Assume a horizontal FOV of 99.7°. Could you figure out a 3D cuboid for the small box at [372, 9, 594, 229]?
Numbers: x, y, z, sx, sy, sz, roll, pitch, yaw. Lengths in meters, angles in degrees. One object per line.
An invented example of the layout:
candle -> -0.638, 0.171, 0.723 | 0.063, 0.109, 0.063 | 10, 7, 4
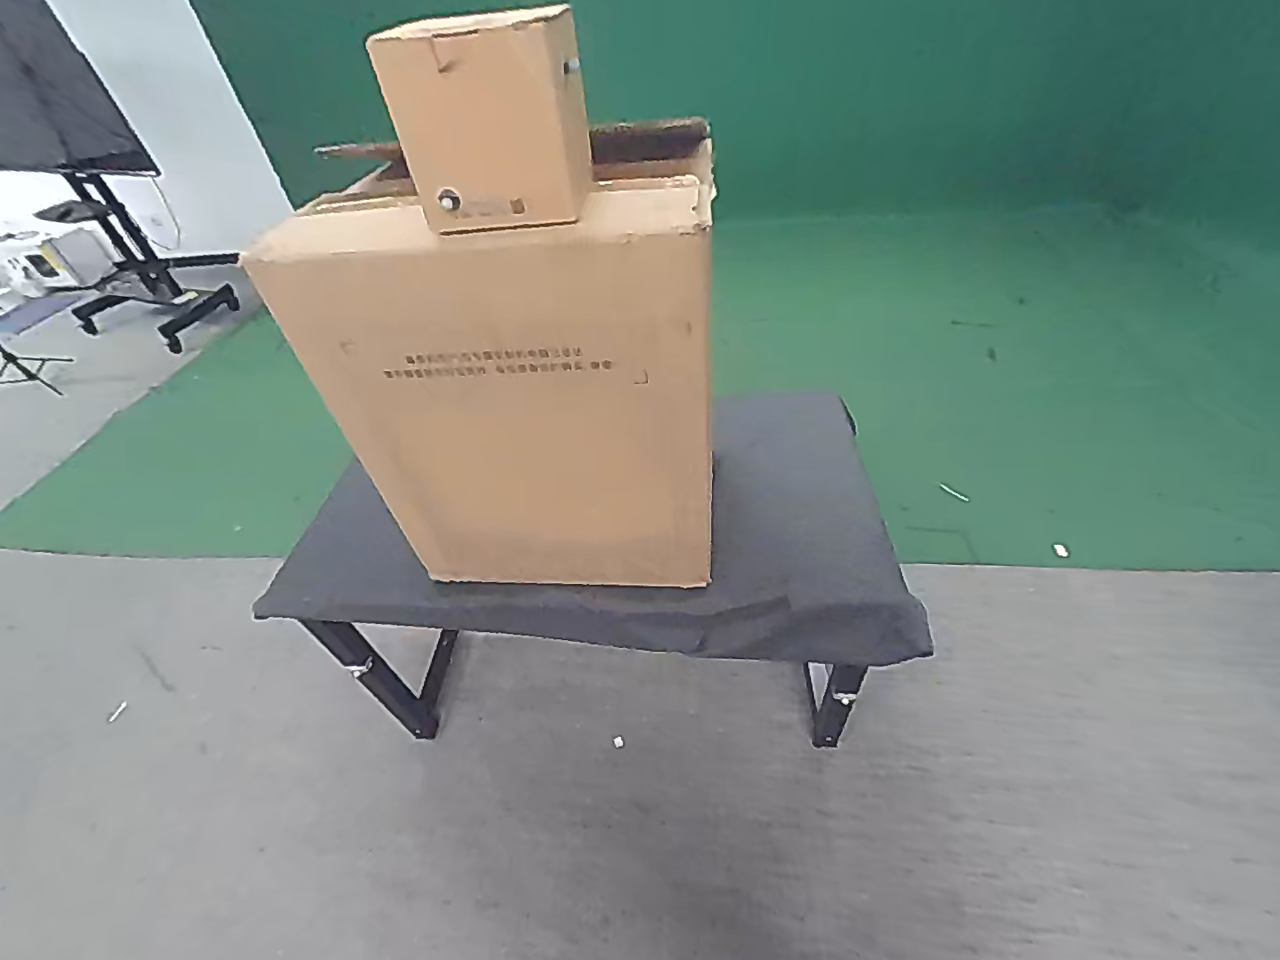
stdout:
small box -> -0.149, -0.387, 0.591 | 0.168, 0.176, 0.179 | -2, 44, 6
